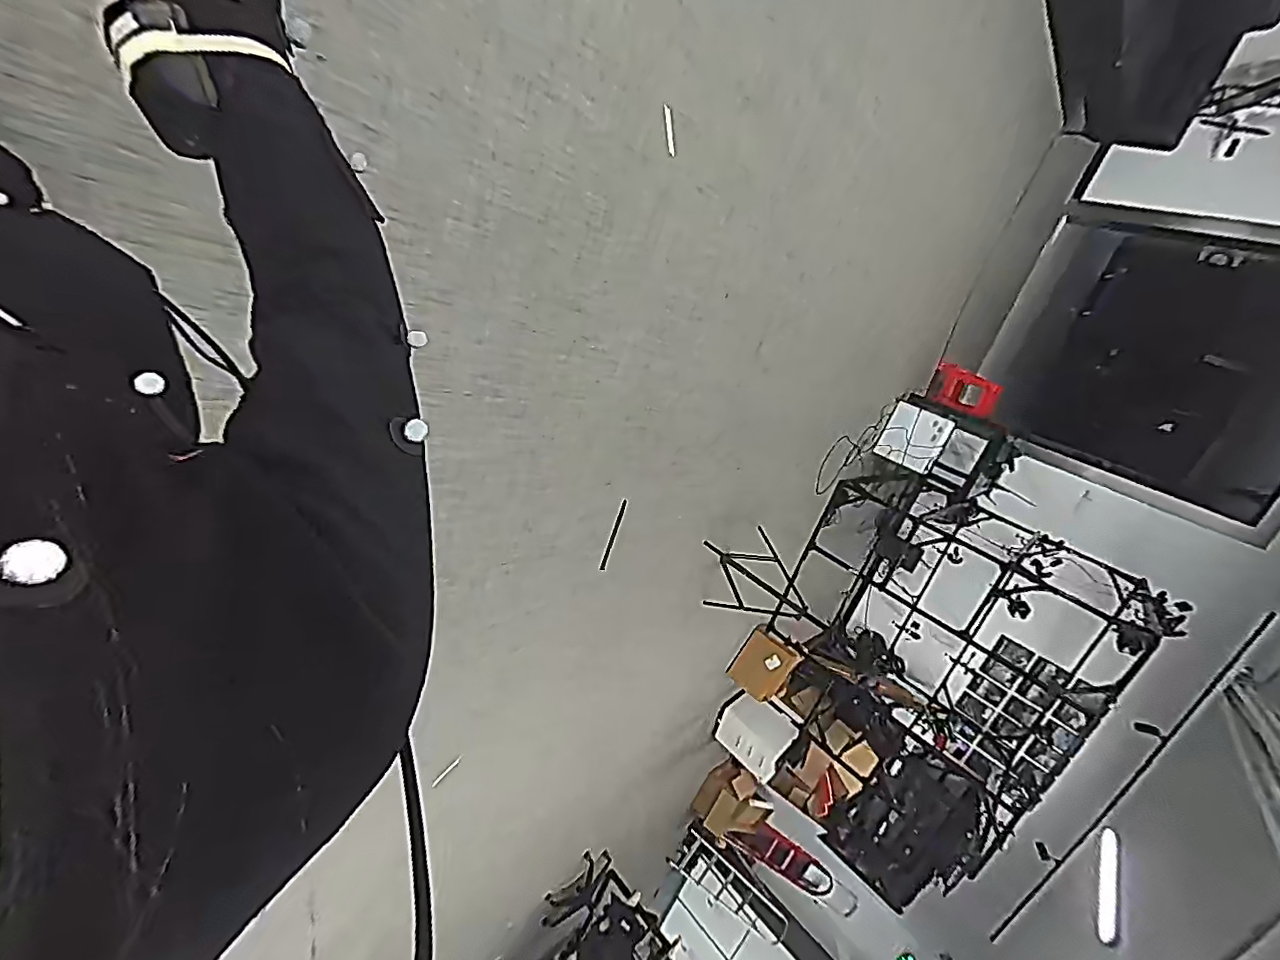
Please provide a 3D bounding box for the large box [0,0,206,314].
[{"bbox_3d":[-0.679,-0.380,0.497,0.320,0.408,0.320,-29,101,-32],"label":"large box"}]
